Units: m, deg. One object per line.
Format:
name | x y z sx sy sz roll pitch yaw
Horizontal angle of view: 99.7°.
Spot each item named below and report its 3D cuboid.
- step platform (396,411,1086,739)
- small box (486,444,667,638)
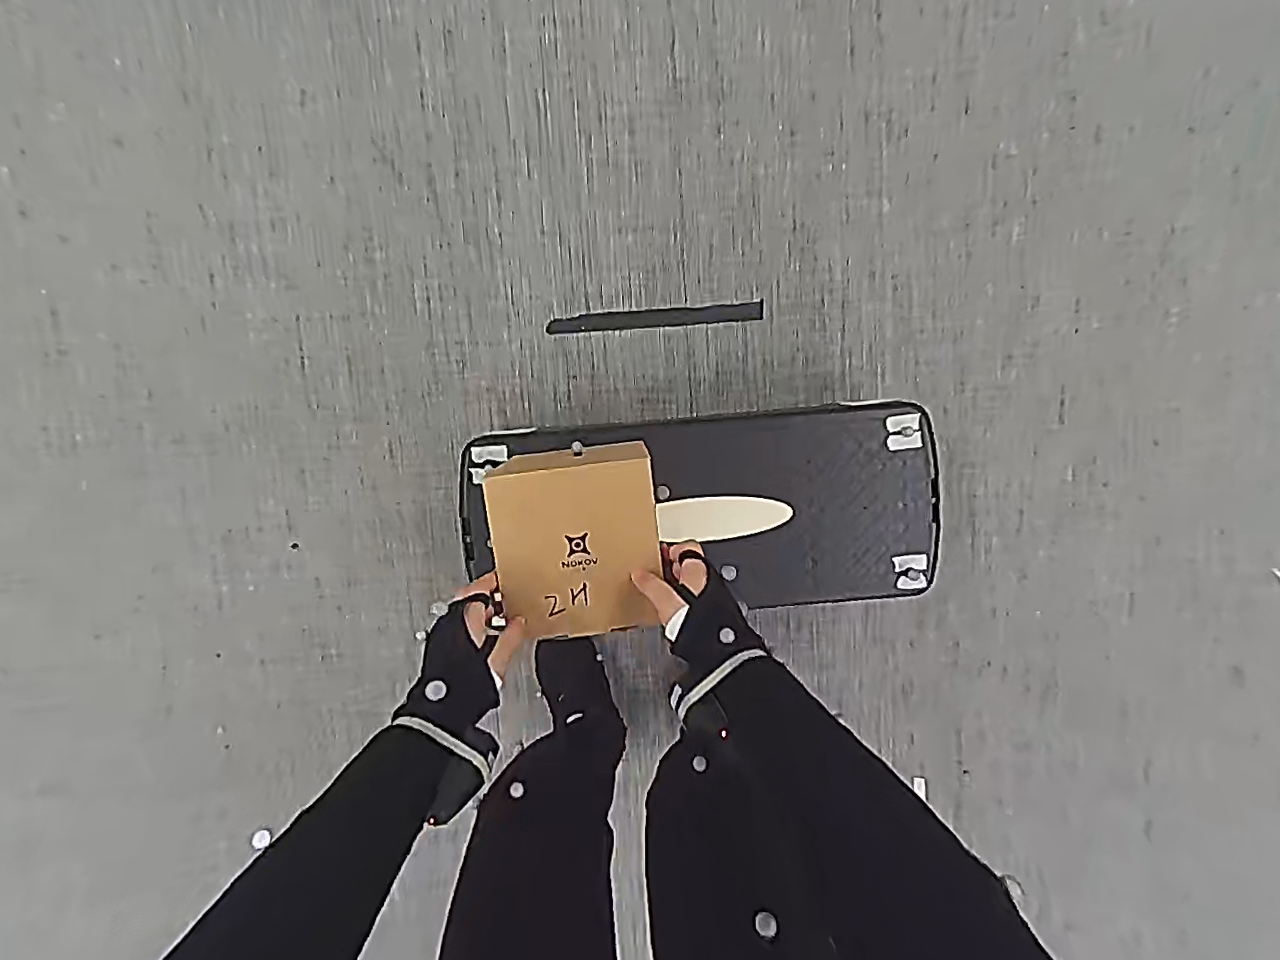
step platform | 0.100 0.091 0.625 0.684 0.204 0.286 -5 95 -1
small box | -0.065 0.055 0.617 0.168 0.176 0.179 -7 100 -1
